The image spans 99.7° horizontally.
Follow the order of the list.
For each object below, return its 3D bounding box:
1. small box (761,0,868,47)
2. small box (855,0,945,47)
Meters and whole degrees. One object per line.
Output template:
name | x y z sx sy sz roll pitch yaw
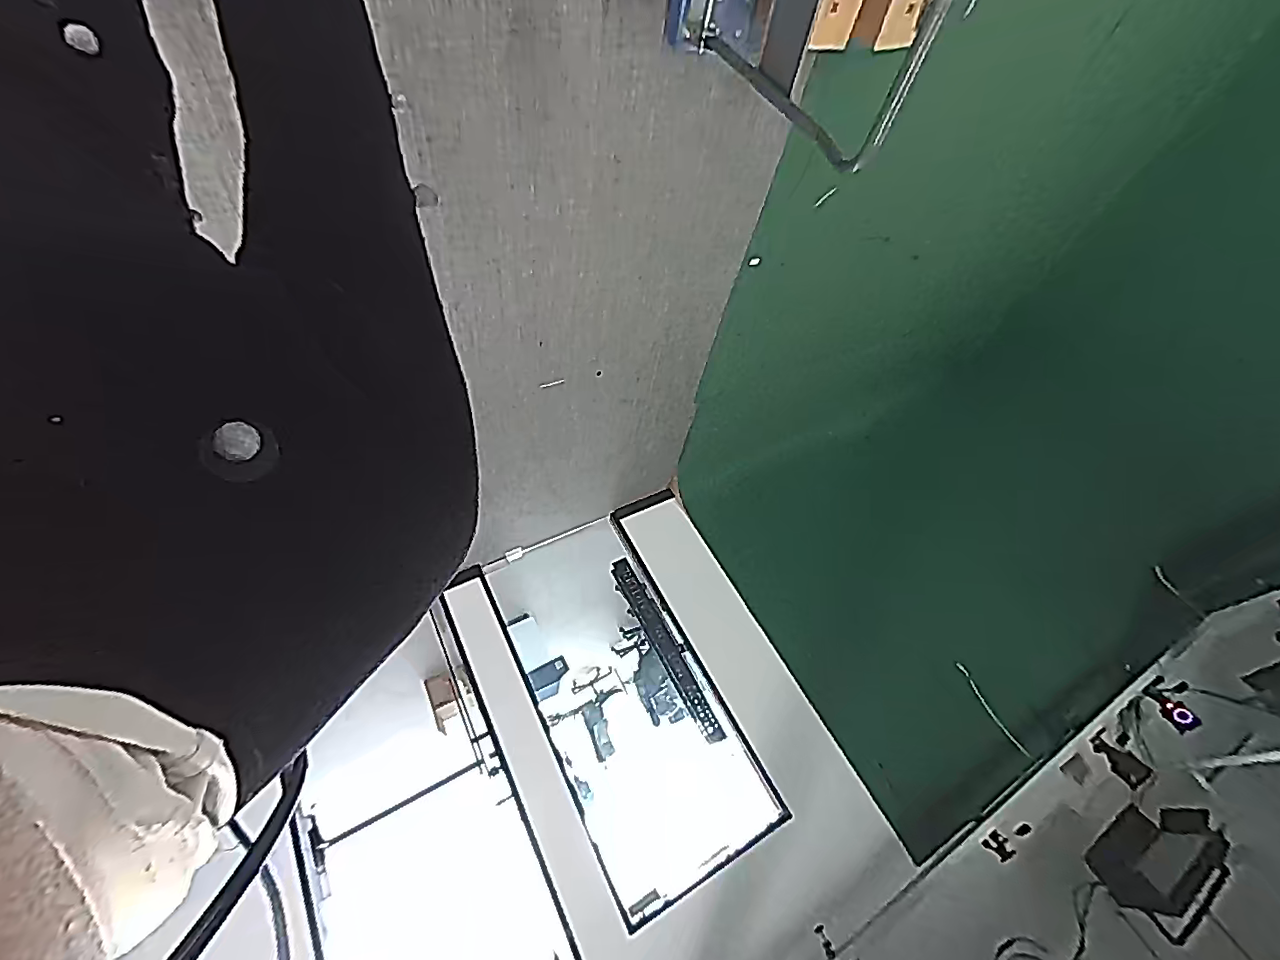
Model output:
small box | 0.423 -1.161 1.281 0.179 0.176 0.168 -19 152 -23
small box | 0.659 -1.245 1.382 0.179 0.176 0.168 -21 152 -18
